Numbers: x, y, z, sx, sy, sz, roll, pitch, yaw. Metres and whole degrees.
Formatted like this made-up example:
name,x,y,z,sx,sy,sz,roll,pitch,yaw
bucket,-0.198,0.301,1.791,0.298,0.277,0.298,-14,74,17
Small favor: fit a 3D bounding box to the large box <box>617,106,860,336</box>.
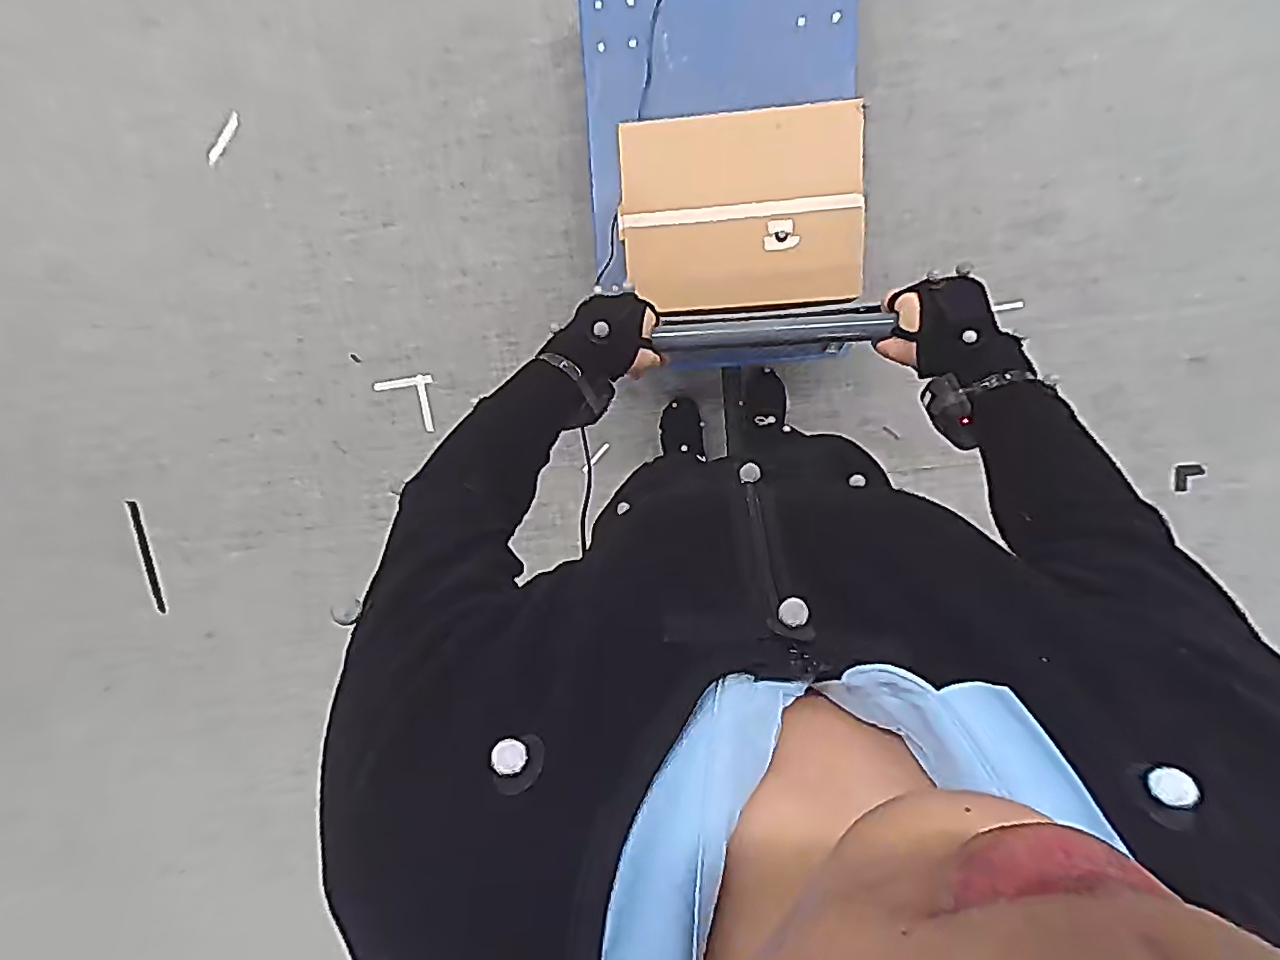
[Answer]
name,x,y,z,sx,sy,sz,roll,pitch,yaw
large box,0.178,-0.469,1.063,0.408,0.320,0.320,-3,101,5
